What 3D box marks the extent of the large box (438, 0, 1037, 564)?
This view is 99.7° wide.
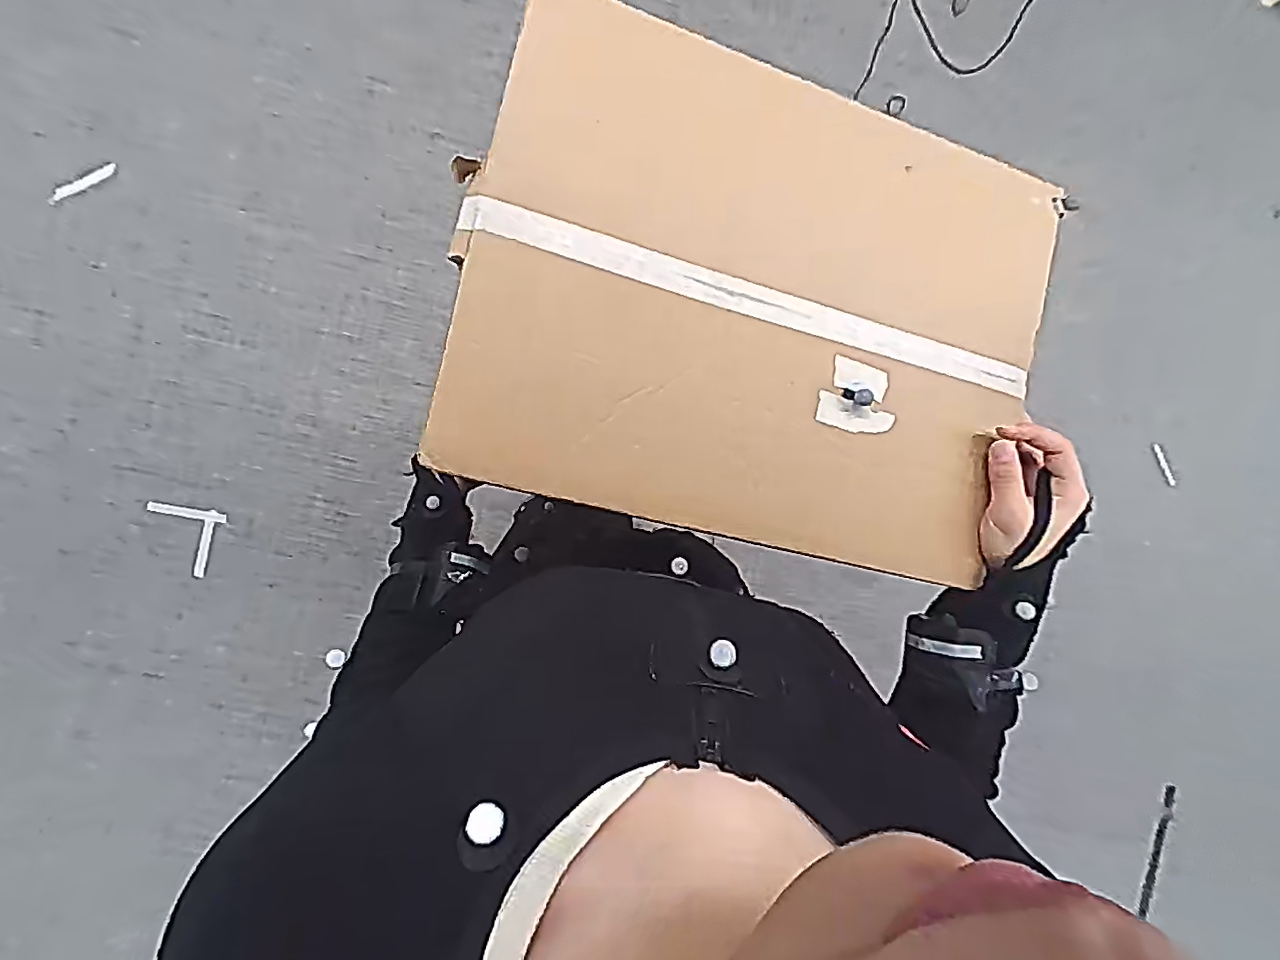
[{"bbox_3d":[0.059,-0.125,0.519,0.408,0.320,0.320,13,89,-13],"label":"large box"}]
